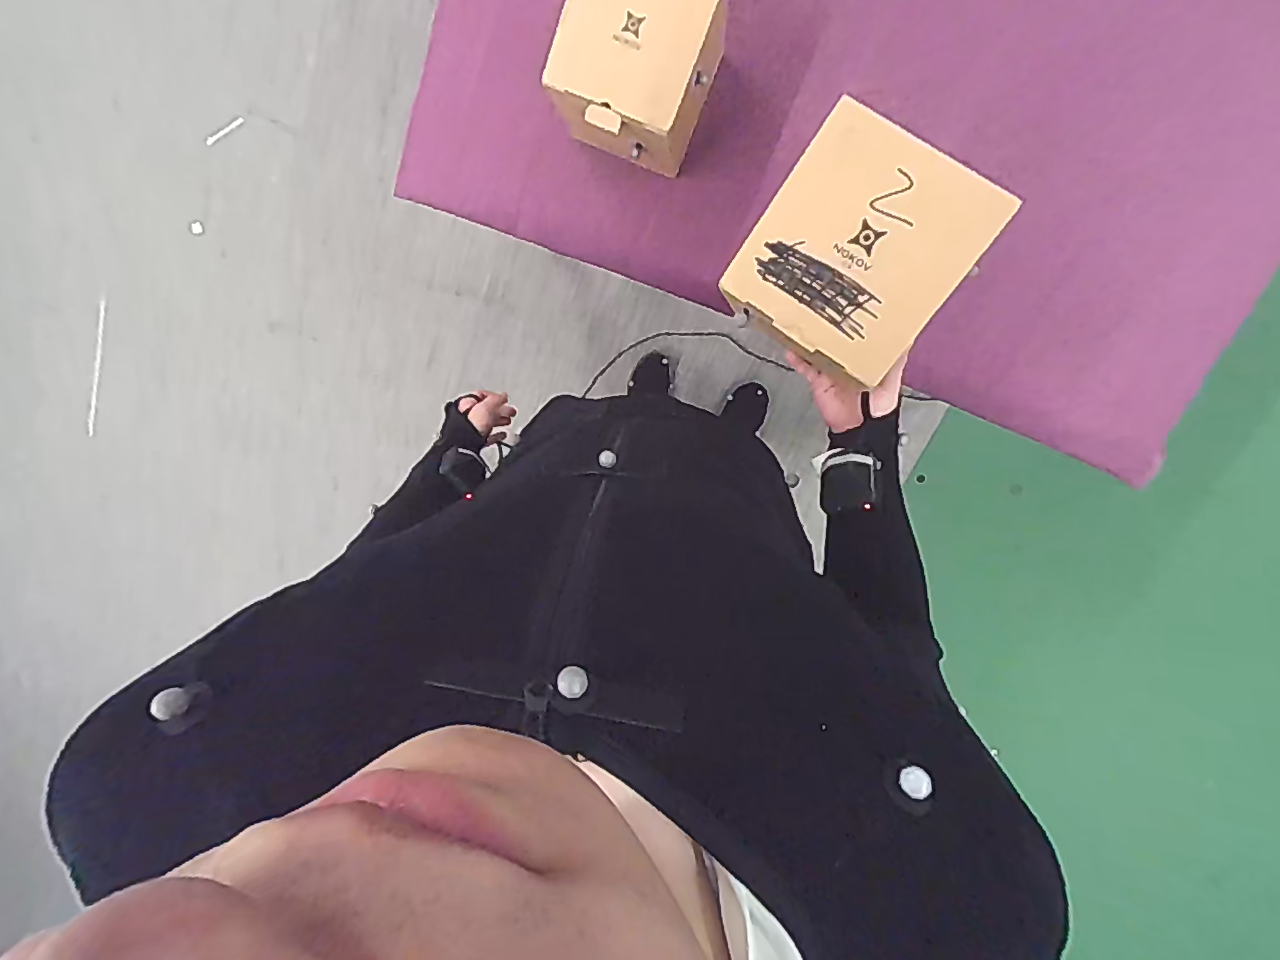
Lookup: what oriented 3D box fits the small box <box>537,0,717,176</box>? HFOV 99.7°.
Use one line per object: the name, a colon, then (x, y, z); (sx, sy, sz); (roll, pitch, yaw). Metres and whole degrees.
small box: (-0.007, -0.528, 0.694); (0.168, 0.176, 0.179); (24, 103, 0)
